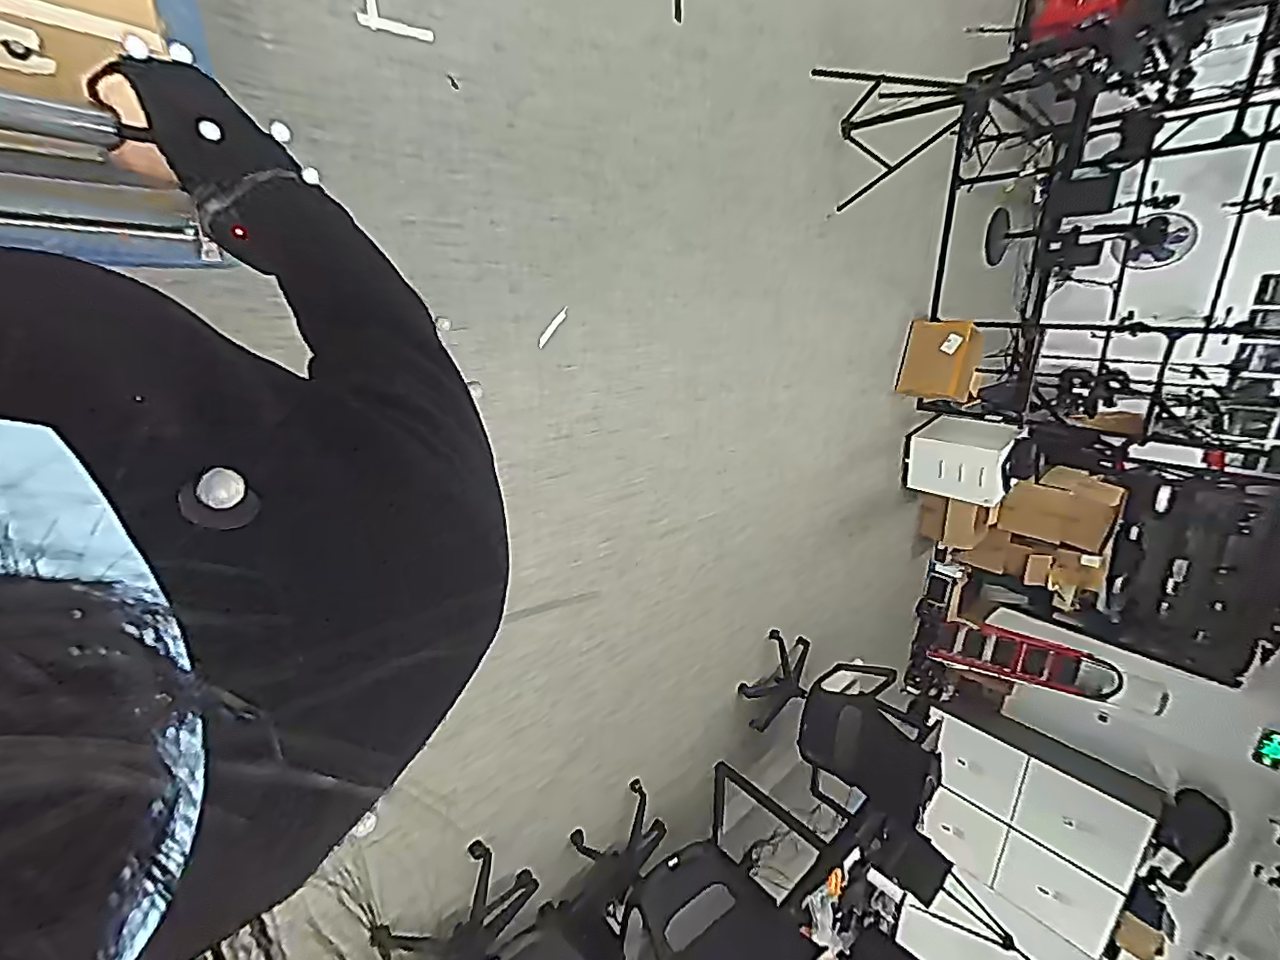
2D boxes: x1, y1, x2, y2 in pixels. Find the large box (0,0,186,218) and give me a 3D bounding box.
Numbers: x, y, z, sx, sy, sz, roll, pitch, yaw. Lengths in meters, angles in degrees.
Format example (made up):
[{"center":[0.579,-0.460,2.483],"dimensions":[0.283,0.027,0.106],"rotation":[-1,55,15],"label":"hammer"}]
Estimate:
[{"center":[-0.863,-0.535,0.667],"dimensions":[0.408,0.320,0.320],"rotation":[-14,111,-42],"label":"large box"}]
